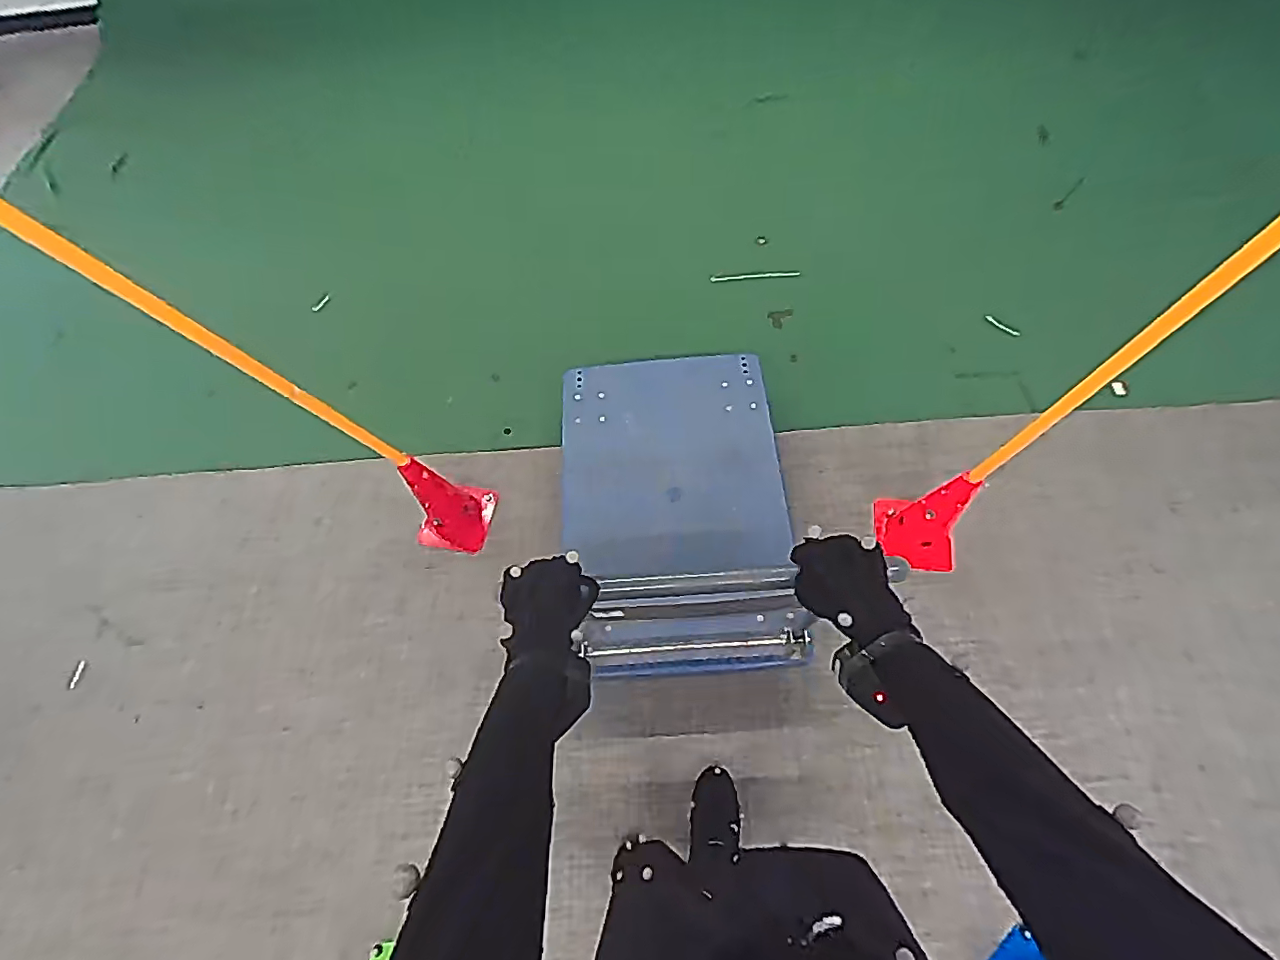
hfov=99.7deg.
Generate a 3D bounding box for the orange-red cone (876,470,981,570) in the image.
[{"bbox_3d":[0.732,0.071,1.321,0.198,0.360,0.199,6,66,8],"label":"orange-red cone"}]
